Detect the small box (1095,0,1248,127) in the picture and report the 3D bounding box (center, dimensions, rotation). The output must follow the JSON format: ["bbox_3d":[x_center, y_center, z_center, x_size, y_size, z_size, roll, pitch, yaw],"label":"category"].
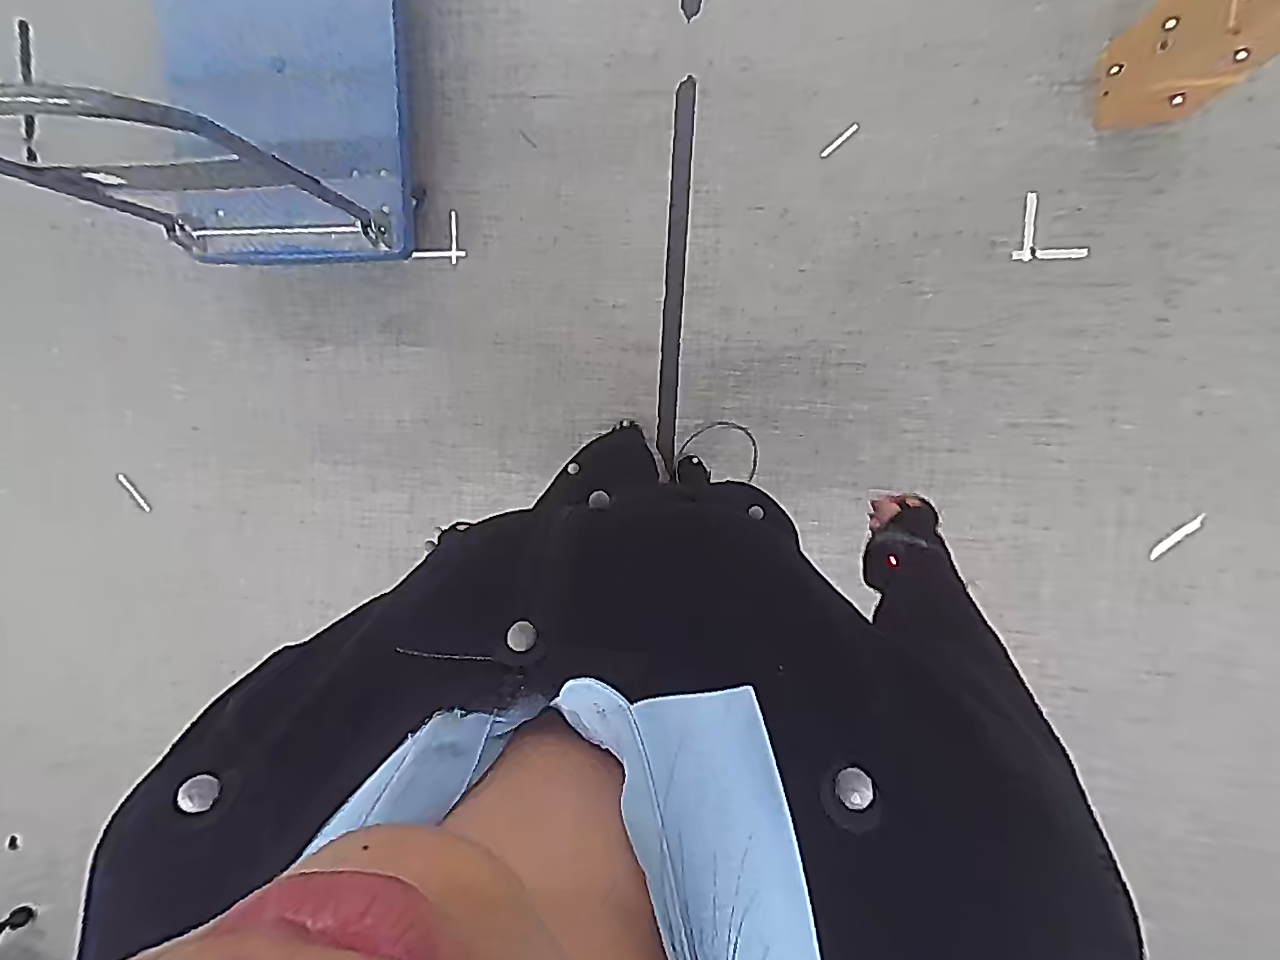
[{"bbox_3d":[1.167,-0.909,1.195,0.179,0.176,0.168,1,97,6],"label":"small box"}]

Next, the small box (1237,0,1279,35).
[{"bbox_3d":[1.143,-0.867,0.869,0.179,0.176,0.168,-2,96,7],"label":"small box"}]
